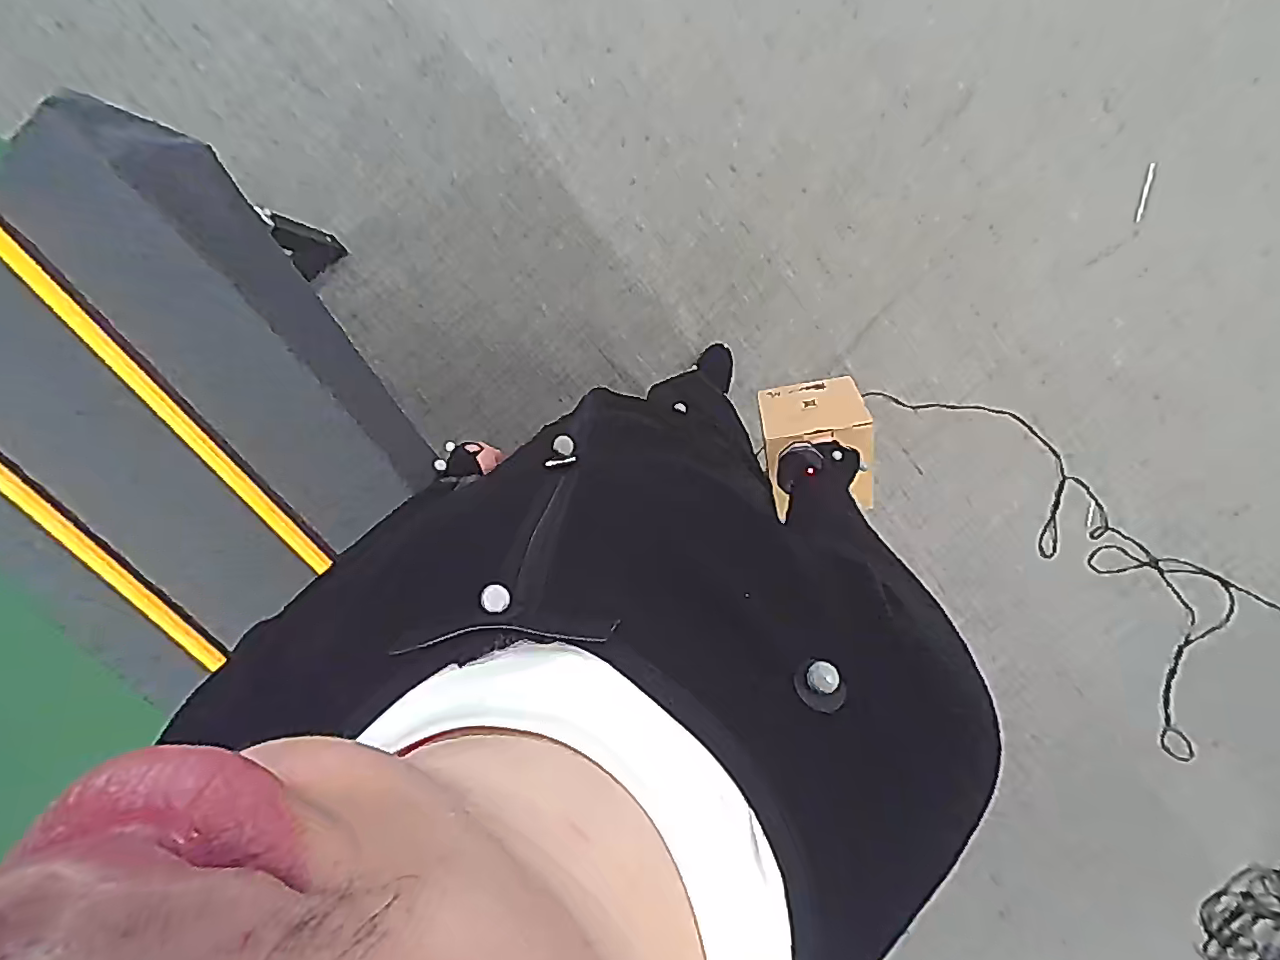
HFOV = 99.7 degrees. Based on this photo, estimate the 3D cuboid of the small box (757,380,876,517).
[{"bbox_3d":[0.308,-0.049,0.951,0.168,0.179,0.176,-10,123,12],"label":"small box"}]
